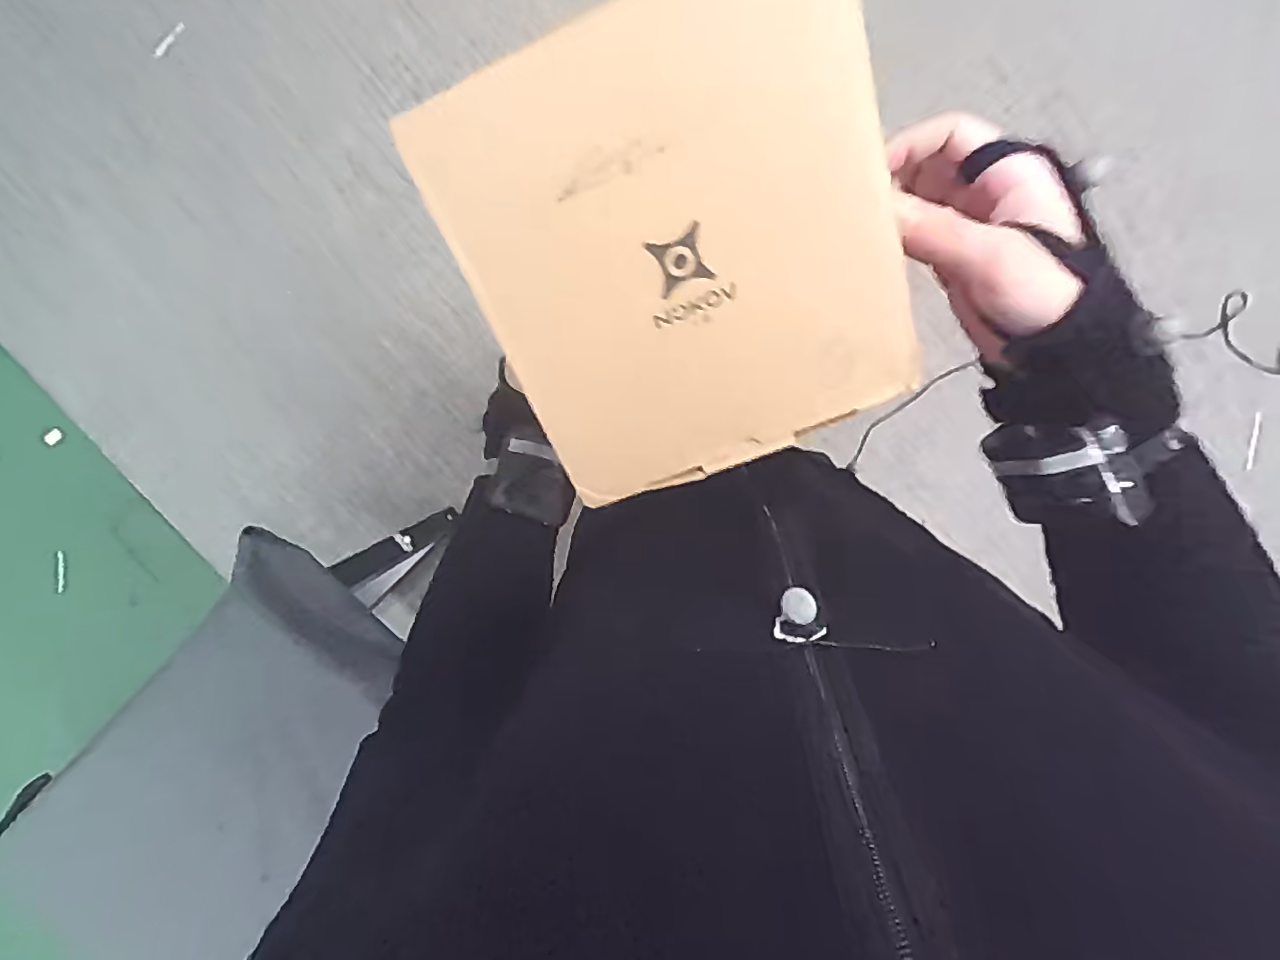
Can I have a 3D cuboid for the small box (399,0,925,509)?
[{"bbox_3d":[0.018,-0.118,0.288,0.168,0.176,0.179,-21,114,9],"label":"small box"}]
